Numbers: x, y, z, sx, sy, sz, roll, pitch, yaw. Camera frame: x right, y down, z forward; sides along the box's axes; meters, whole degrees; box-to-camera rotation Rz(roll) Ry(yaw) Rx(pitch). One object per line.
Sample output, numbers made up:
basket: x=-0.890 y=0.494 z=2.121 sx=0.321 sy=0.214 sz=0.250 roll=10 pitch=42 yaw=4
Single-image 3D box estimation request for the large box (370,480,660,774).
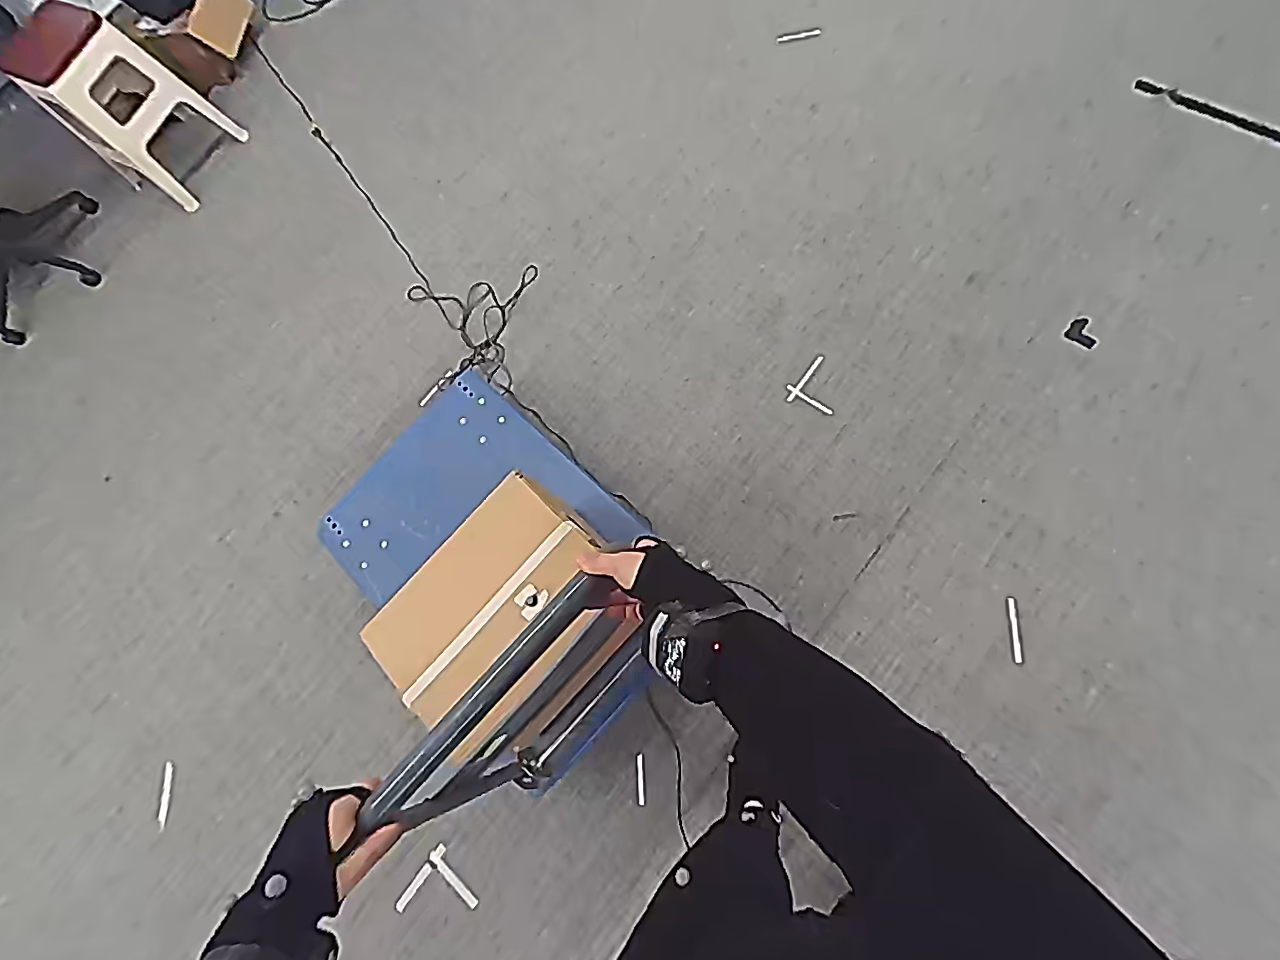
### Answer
large box: x=-0.221 y=0.281 z=1.072 sx=0.320 sy=0.320 sz=0.408 roll=41 pitch=85 yaw=19
